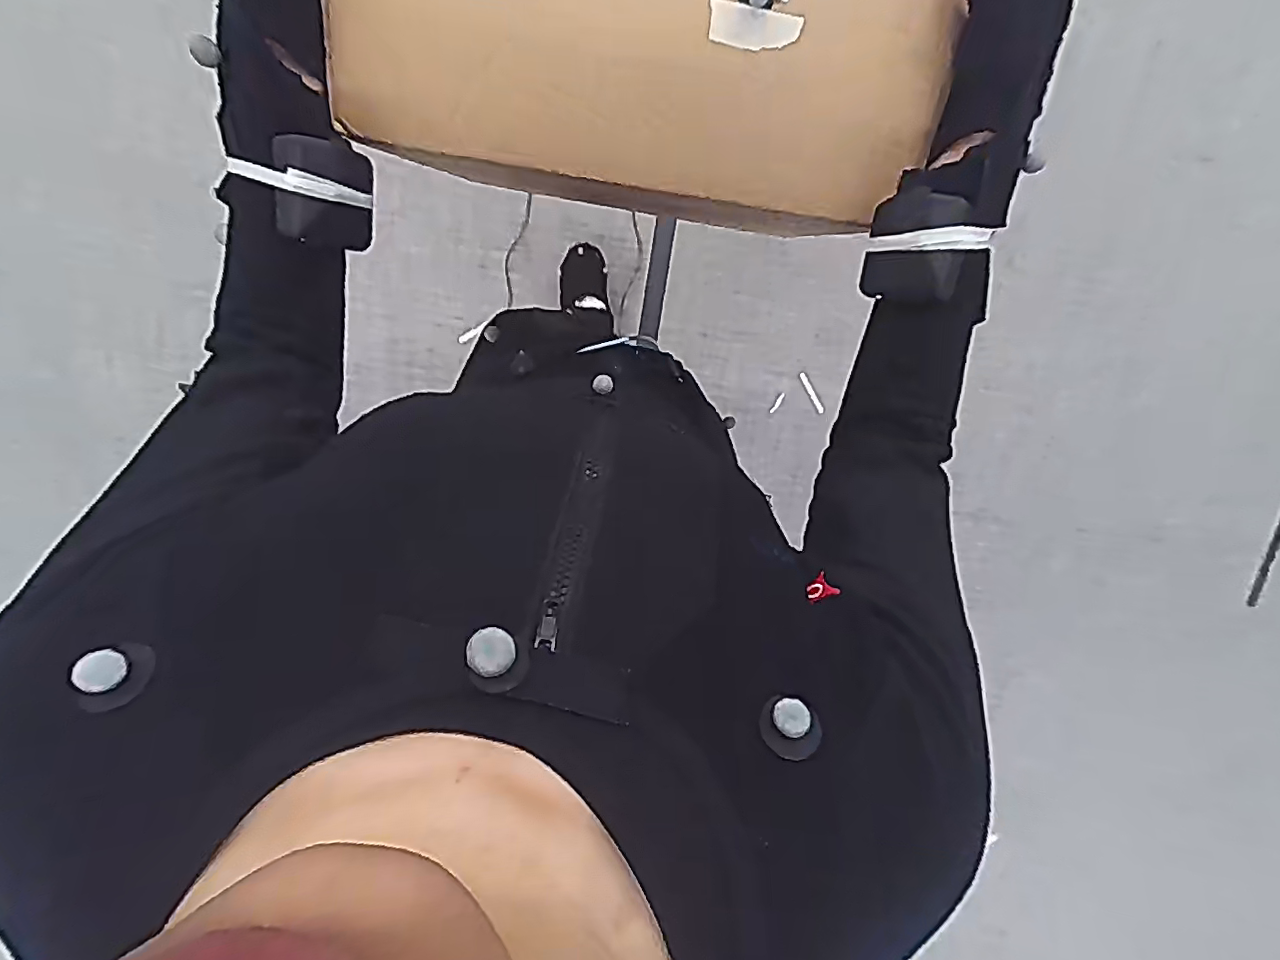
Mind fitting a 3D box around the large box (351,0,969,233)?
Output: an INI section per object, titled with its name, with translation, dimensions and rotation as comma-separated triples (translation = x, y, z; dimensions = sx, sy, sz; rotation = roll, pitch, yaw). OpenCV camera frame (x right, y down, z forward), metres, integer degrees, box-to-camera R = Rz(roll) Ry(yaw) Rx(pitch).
[large box]
translation = 0.017, -0.409, 0.467
dimensions = 0.408, 0.320, 0.320
rotation = 7, 114, -4
